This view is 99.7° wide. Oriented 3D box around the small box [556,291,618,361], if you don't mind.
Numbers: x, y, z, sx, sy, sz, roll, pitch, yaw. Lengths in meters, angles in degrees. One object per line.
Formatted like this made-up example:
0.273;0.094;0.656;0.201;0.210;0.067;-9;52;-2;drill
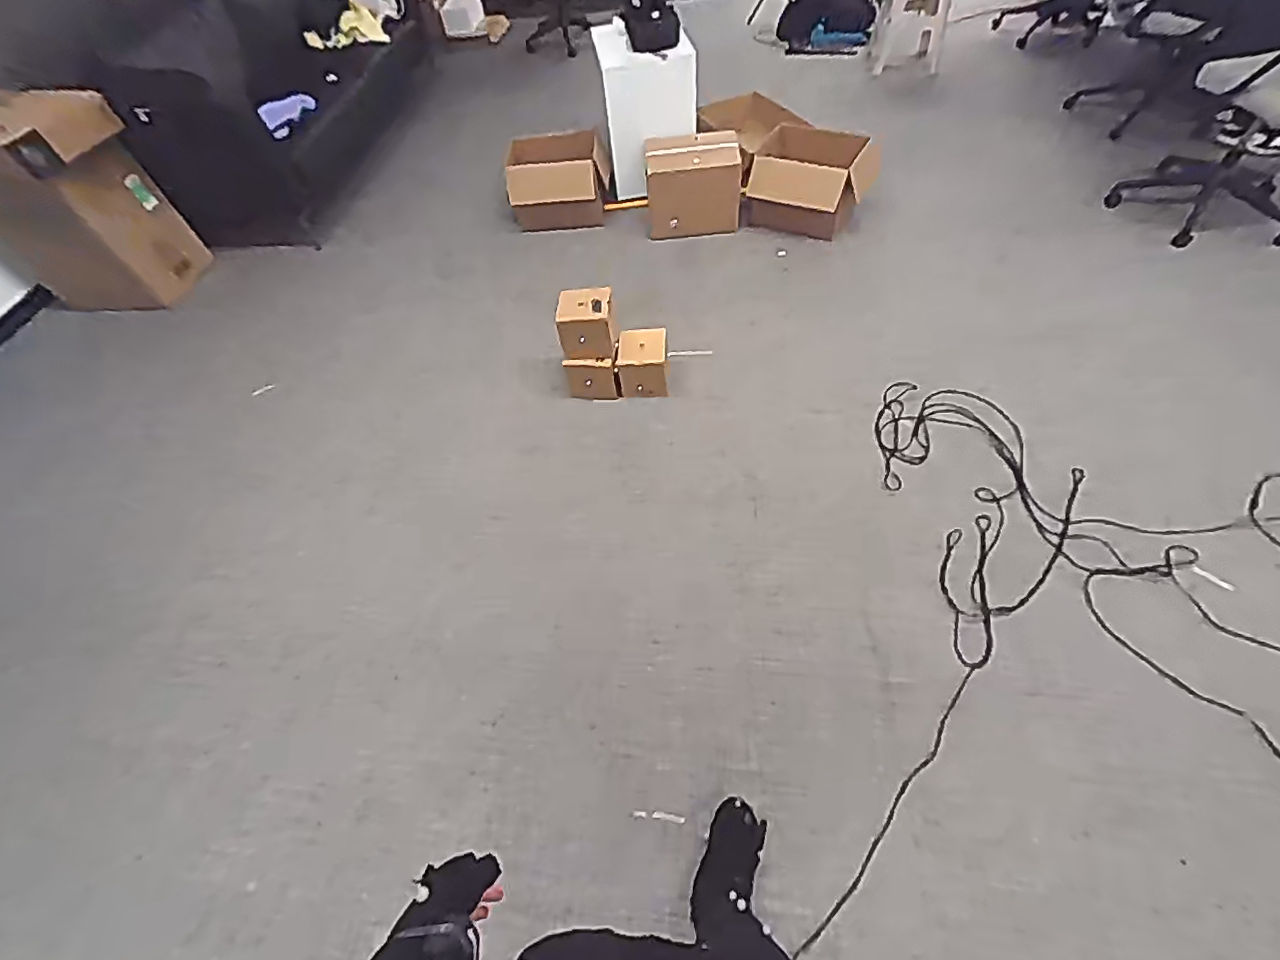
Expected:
-0.174;-0.522;1.845;0.179;0.176;0.168;-1;54;7;small box
